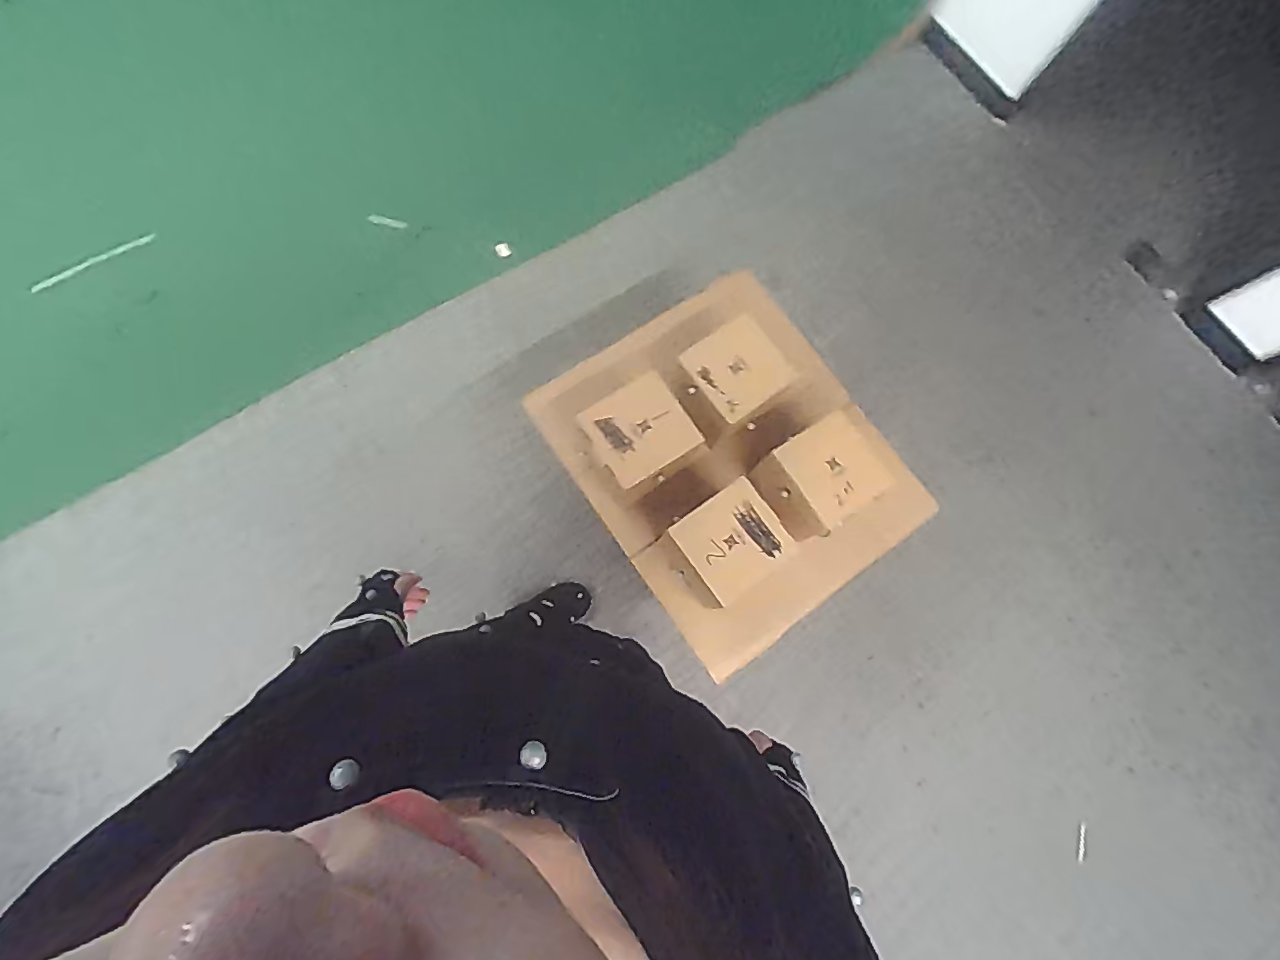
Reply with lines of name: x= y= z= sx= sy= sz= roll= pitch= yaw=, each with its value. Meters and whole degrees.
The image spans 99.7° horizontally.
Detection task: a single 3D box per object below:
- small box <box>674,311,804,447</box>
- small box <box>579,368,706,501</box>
small box: x=0.186 y=-0.194 z=1.079 sx=0.179 sy=0.176 sz=0.168 roll=-34 pitch=80 yaw=-12
small box: x=0.001 y=-0.078 z=1.038 sx=0.179 sy=0.176 sz=0.168 roll=-32 pitch=81 yaw=-11
